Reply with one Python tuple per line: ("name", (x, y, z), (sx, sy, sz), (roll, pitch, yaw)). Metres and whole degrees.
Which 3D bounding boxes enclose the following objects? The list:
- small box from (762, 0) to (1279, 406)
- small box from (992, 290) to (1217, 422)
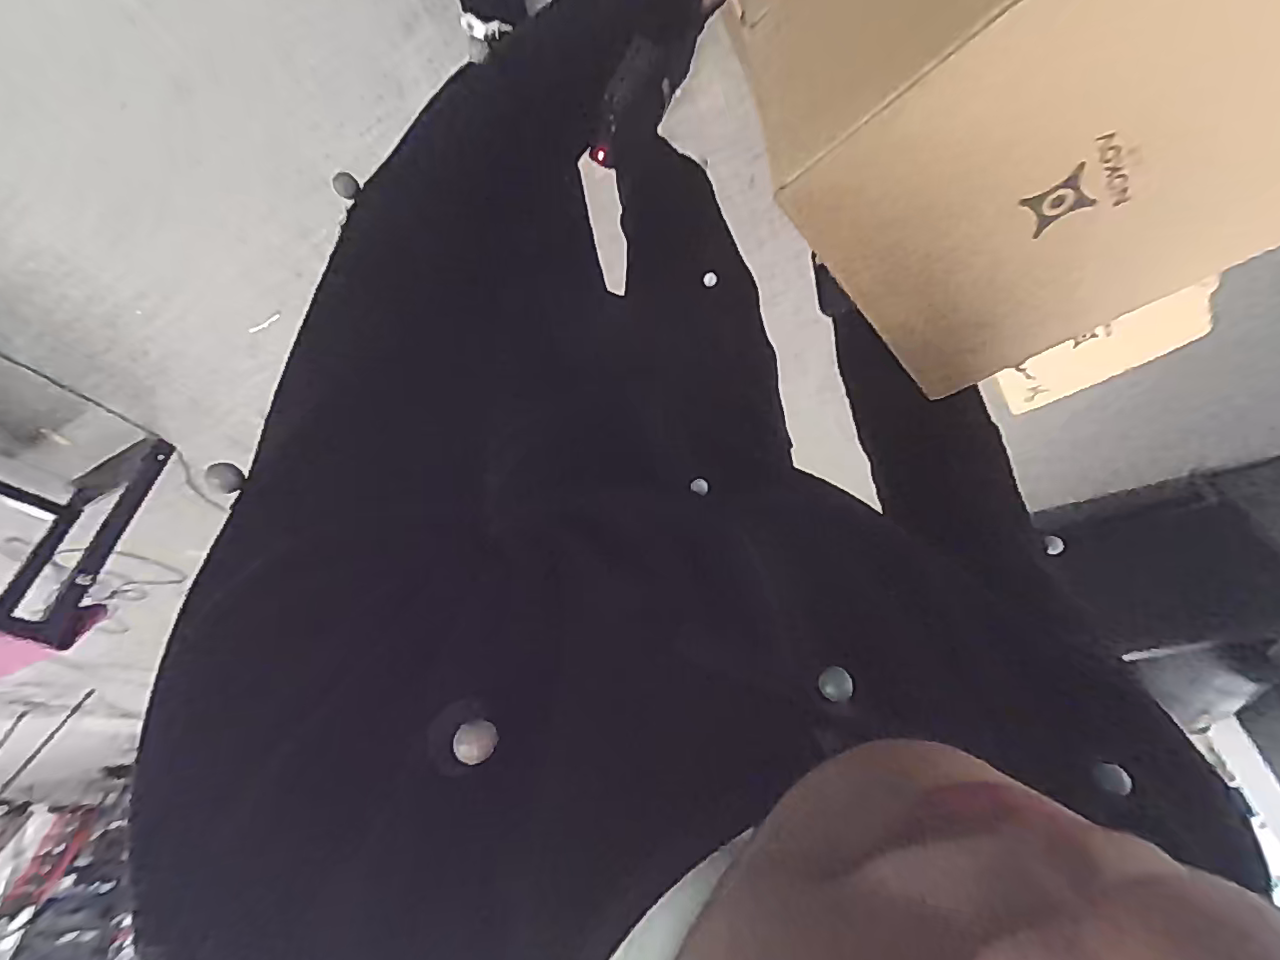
("small box", (0.171, -0.174, 0.252), (0.179, 0.176, 0.168), (-29, 134, 36))
("small box", (0.430, -0.200, 0.559), (0.179, 0.176, 0.168), (-29, 136, 30))
